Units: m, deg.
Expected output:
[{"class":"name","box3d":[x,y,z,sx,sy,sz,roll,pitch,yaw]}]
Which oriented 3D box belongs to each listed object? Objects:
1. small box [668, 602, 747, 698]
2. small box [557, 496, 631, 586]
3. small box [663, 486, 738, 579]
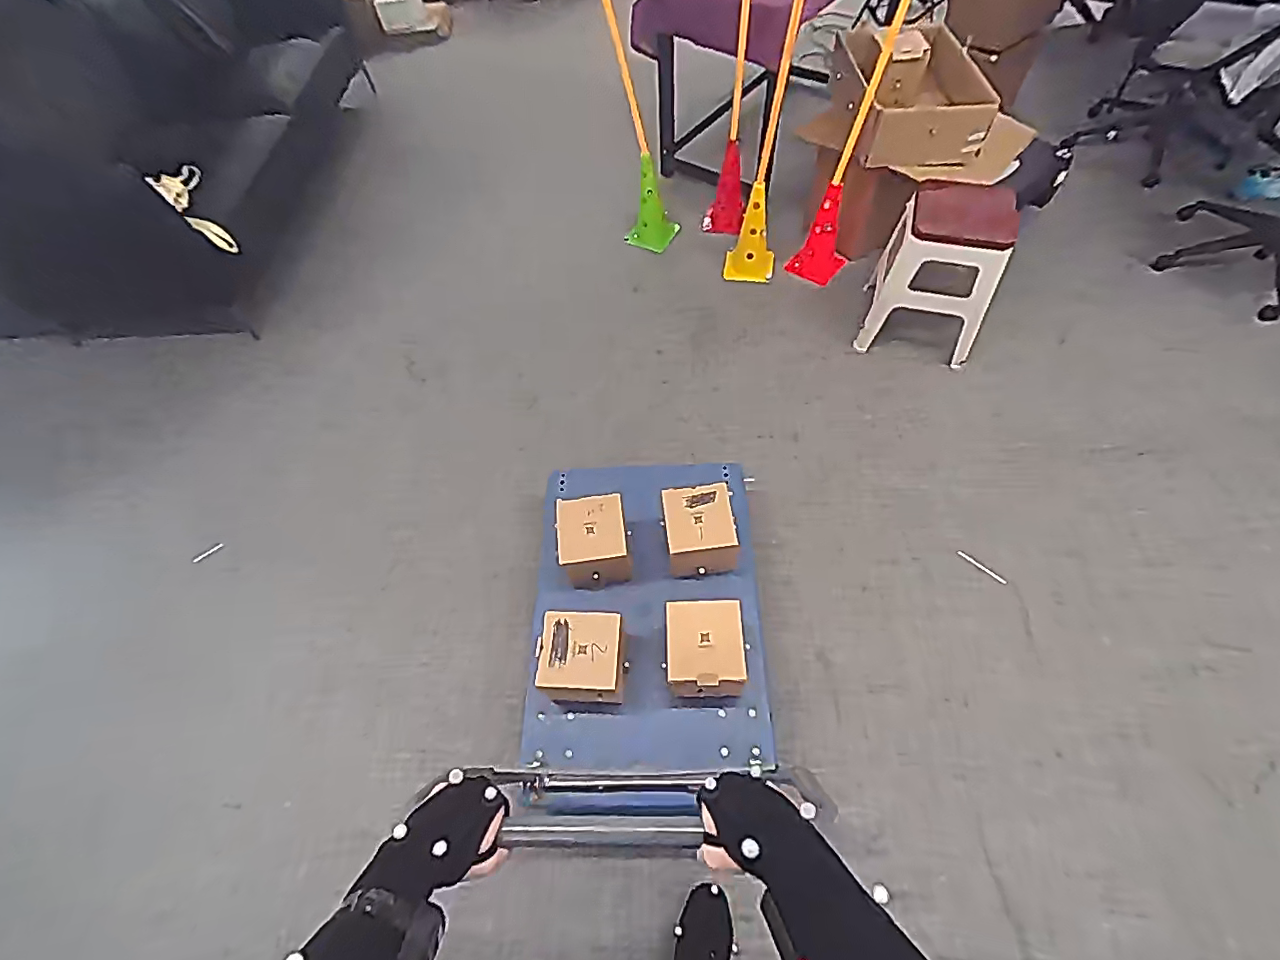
[{"class":"small box","box3d":[0.148,0.392,1.239,0.168,0.176,0.179,-3,59,4]},{"class":"small box","box3d":[-0.115,0.164,1.397,0.168,0.176,0.179,-7,59,0]},{"class":"small box","box3d":[0.150,0.137,1.390,0.168,0.176,0.179,-7,59,1]}]
